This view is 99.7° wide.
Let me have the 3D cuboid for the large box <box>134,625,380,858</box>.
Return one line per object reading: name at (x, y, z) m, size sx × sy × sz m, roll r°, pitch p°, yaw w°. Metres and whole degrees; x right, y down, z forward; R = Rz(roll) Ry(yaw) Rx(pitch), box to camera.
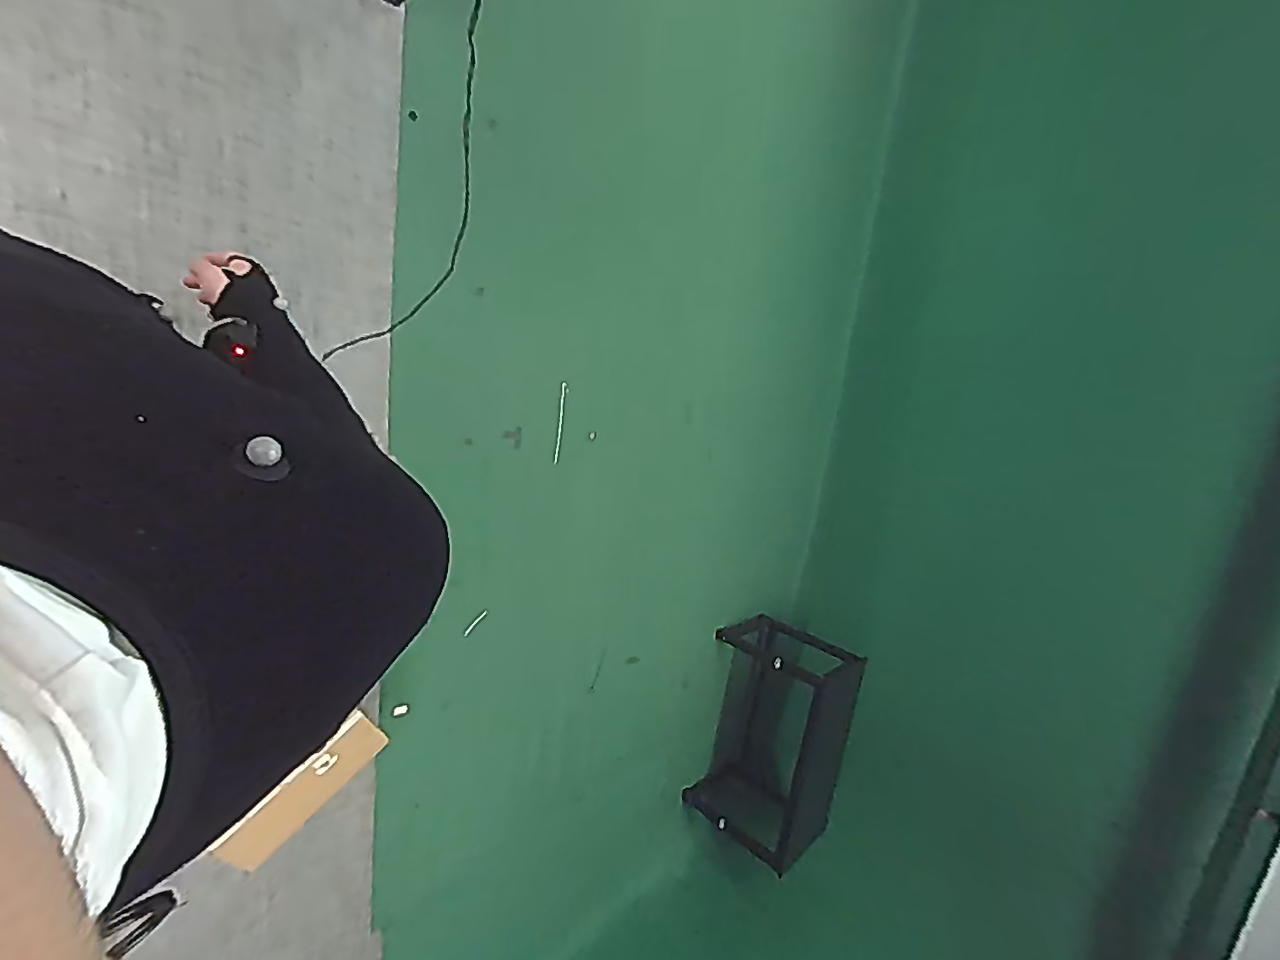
large box at (-1.015, 0.682, 1.456) m, size 0.408 × 0.320 × 0.320 m, roll -43°, pitch 133°, yaw -31°
